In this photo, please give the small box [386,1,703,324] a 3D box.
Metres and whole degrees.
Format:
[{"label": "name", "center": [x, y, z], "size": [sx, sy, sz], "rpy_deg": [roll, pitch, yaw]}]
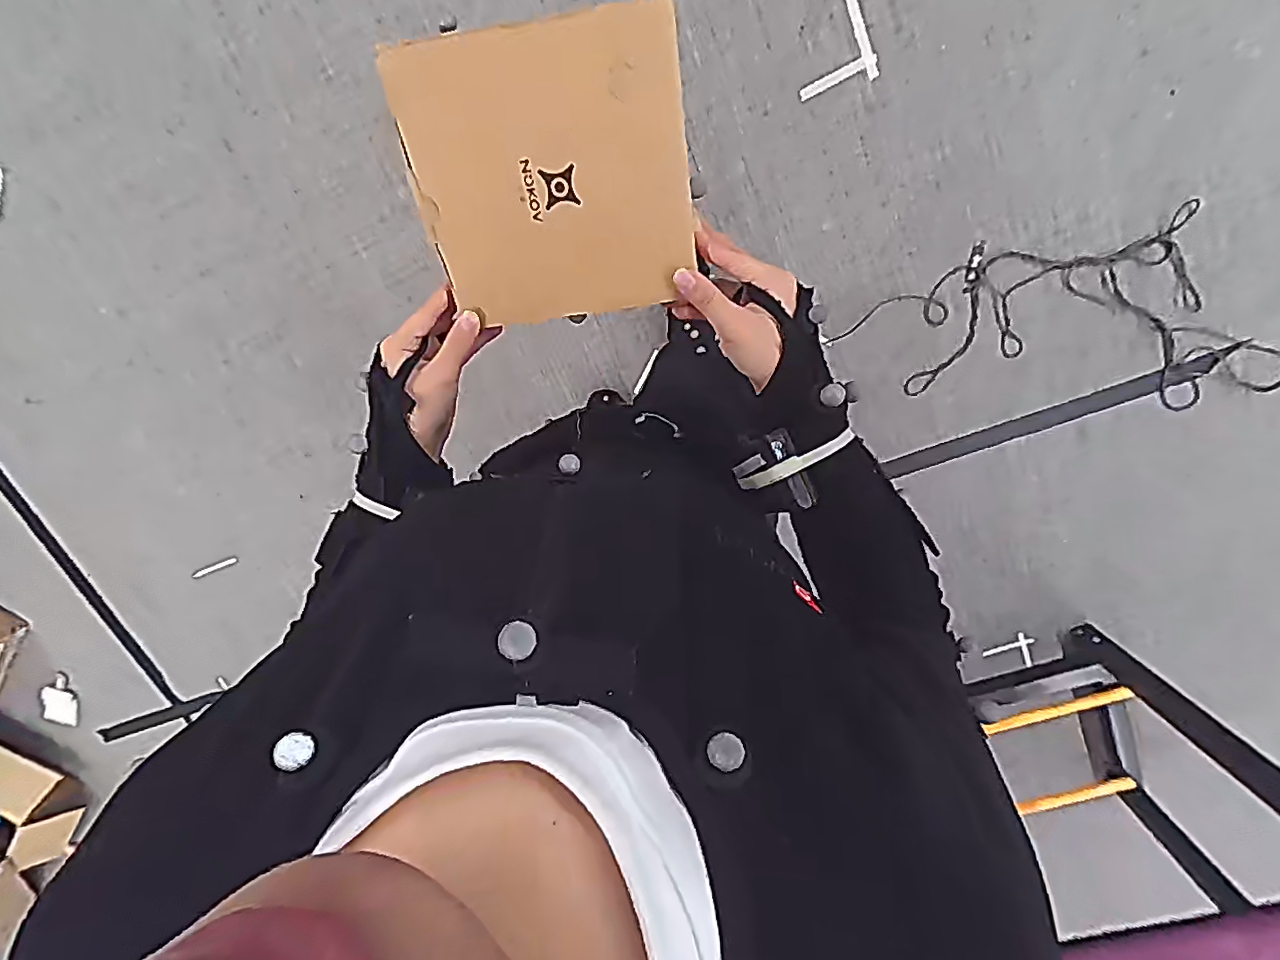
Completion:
[{"label": "small box", "center": [-0.050, -0.236, 0.412], "size": [0.179, 0.176, 0.168], "rpy_deg": [-6, 125, 6]}]
